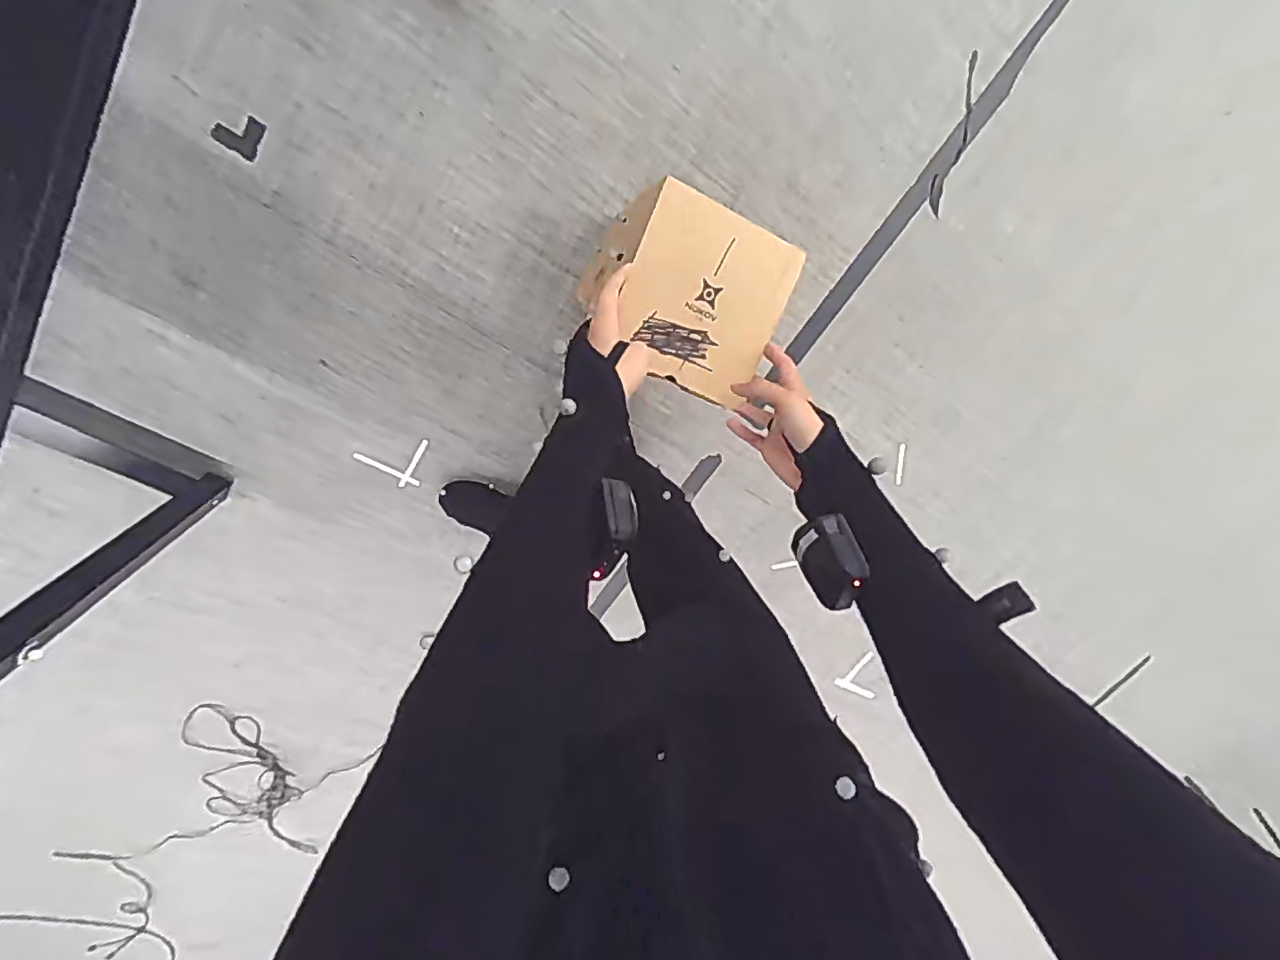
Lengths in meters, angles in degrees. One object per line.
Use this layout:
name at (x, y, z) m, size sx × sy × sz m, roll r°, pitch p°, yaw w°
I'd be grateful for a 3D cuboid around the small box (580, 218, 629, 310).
small box at (-0.012, -0.393, 1.074) m, size 0.168 × 0.176 × 0.179 m, roll 27°, pitch 108°, yaw -19°

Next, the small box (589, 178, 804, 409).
small box at (0.047, -0.207, 0.619) m, size 0.168 × 0.176 × 0.179 m, roll 20°, pitch 106°, yaw -17°
